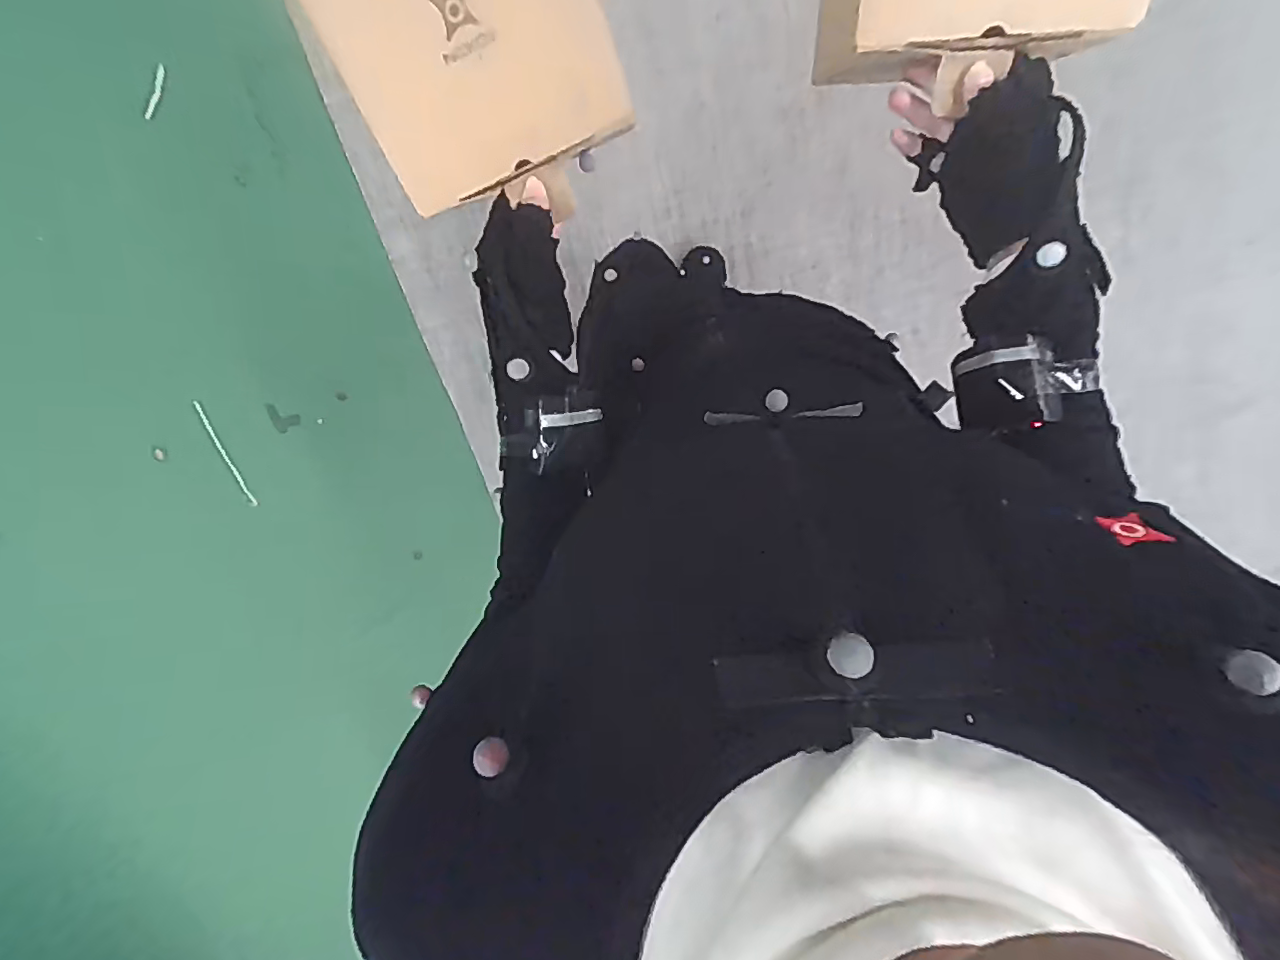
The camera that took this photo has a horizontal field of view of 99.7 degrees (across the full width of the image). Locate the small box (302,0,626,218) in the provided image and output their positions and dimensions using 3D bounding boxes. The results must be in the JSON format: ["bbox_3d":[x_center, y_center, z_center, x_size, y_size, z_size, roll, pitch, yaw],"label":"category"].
[{"bbox_3d":[-0.114,-0.325,0.404,0.168,0.176,0.179,-20,119,11],"label":"small box"}]
